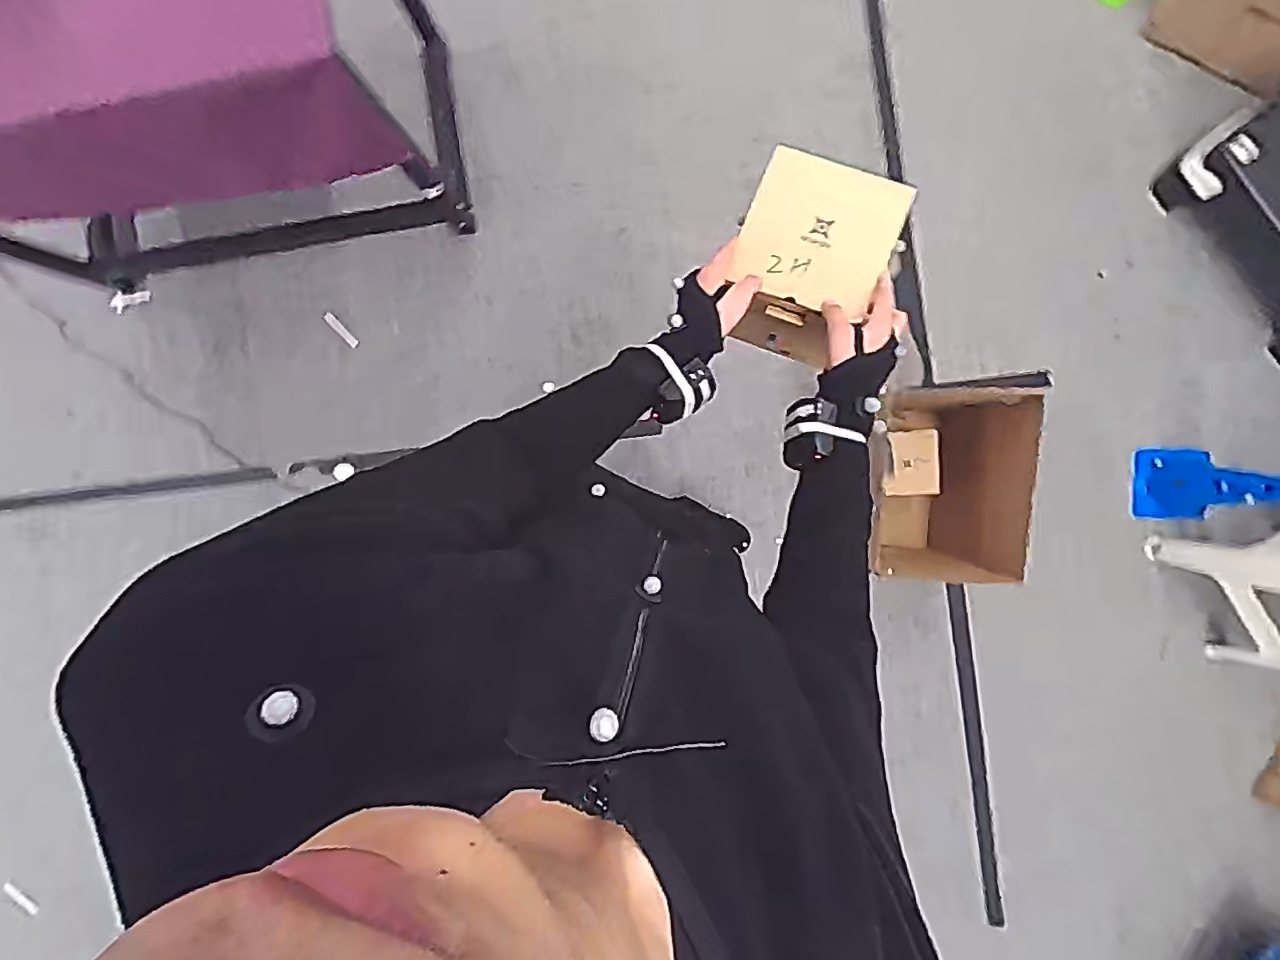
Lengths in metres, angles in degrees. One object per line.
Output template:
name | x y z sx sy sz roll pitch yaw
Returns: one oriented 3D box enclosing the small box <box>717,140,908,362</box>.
small box | 0.202 -0.277 0.690 0.168 0.176 0.179 22 88 8
